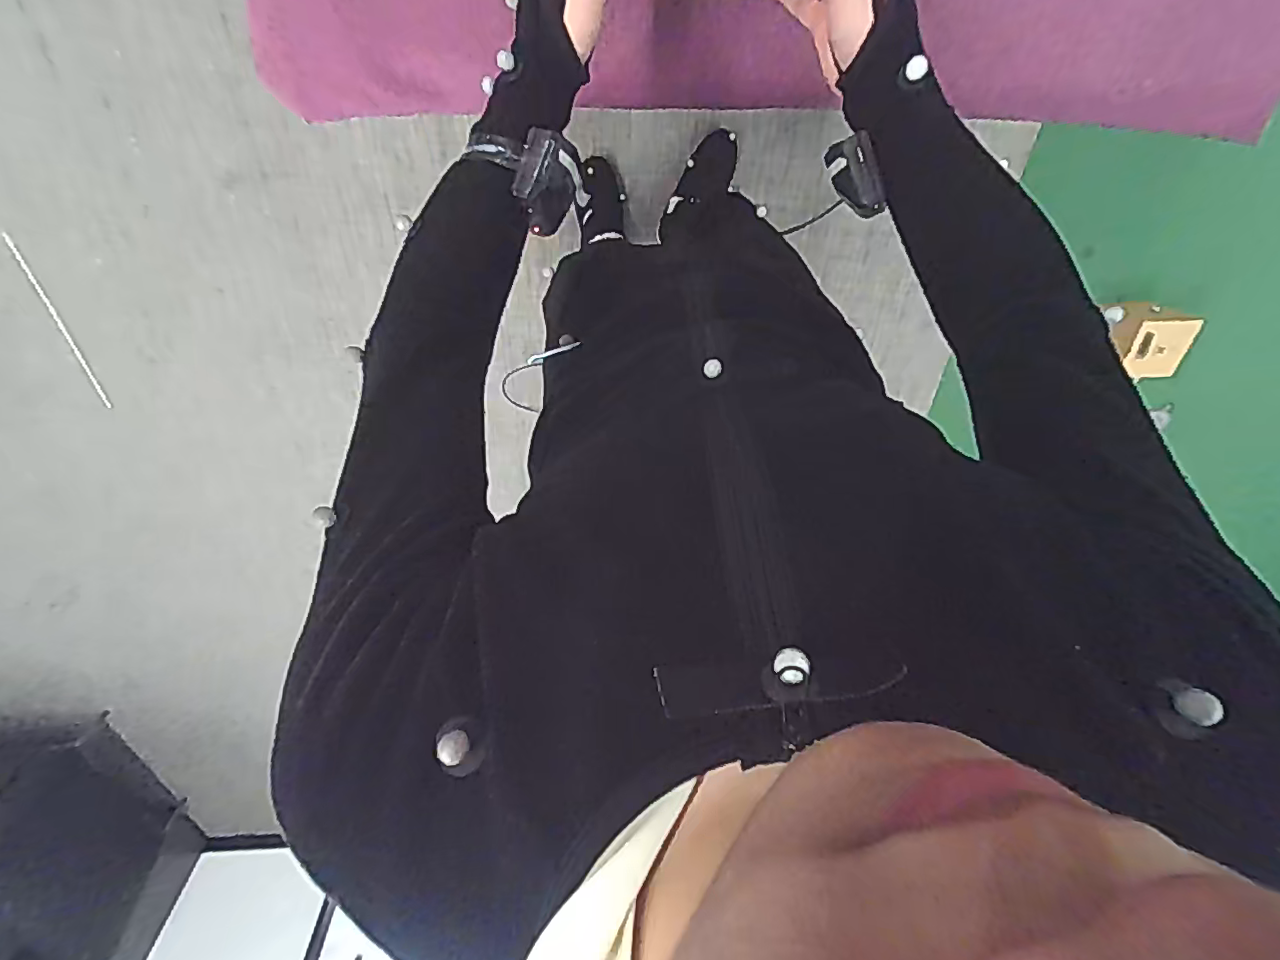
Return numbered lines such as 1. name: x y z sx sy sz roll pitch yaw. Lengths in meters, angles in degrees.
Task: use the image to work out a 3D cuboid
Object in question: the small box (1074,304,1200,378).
1. small box: 1.426 -0.405 1.569 0.179 0.176 0.168 -2 125 -4
